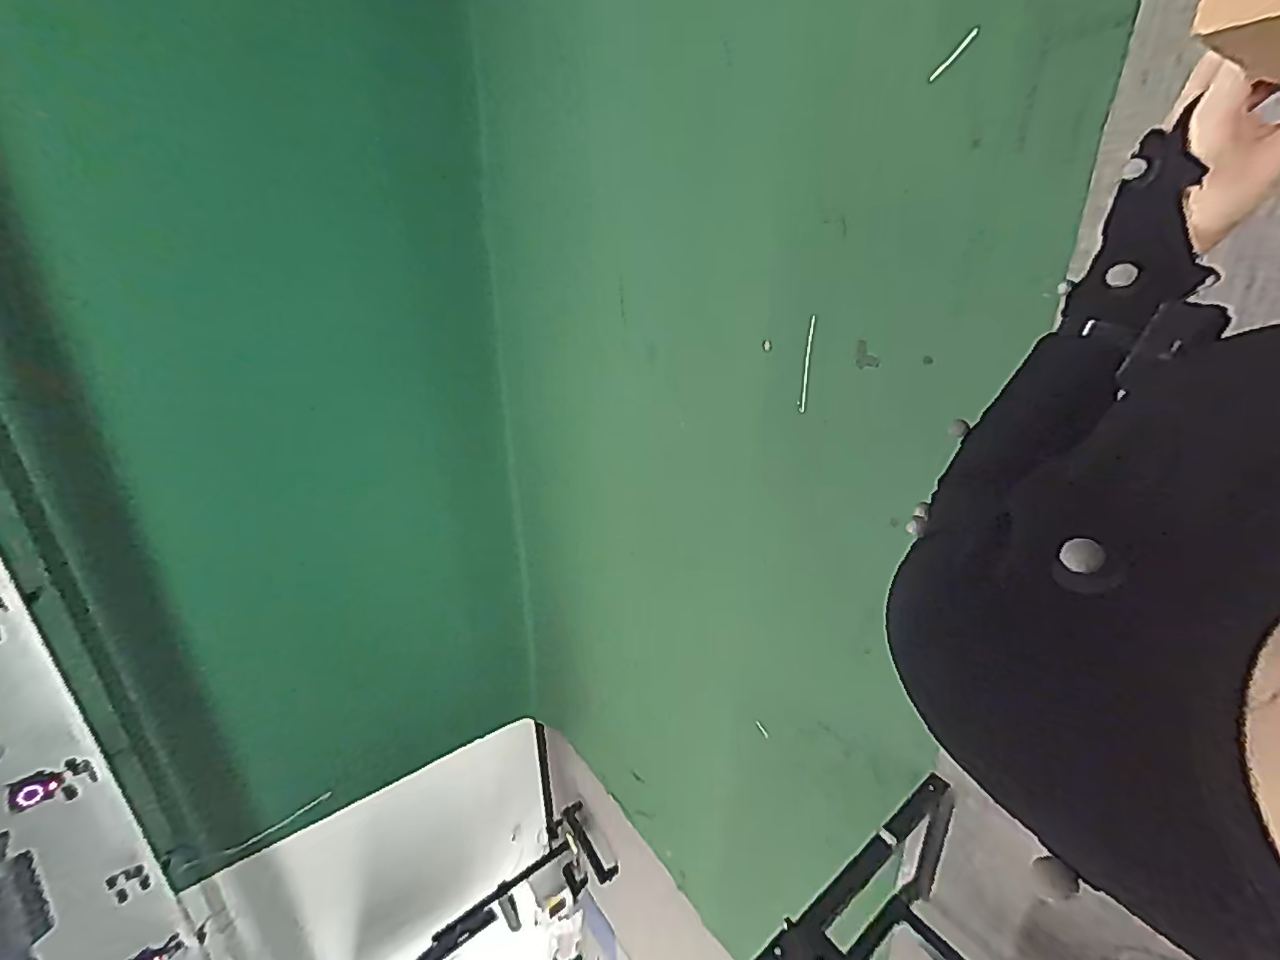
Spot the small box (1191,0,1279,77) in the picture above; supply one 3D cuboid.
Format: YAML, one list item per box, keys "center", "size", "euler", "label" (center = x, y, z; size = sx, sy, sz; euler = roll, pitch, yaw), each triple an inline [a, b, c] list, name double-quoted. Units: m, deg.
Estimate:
- center: [0.373, -0.273, 0.196]
  size: [0.179, 0.176, 0.168]
  euler: [31, 127, 53]
  label: "small box"
